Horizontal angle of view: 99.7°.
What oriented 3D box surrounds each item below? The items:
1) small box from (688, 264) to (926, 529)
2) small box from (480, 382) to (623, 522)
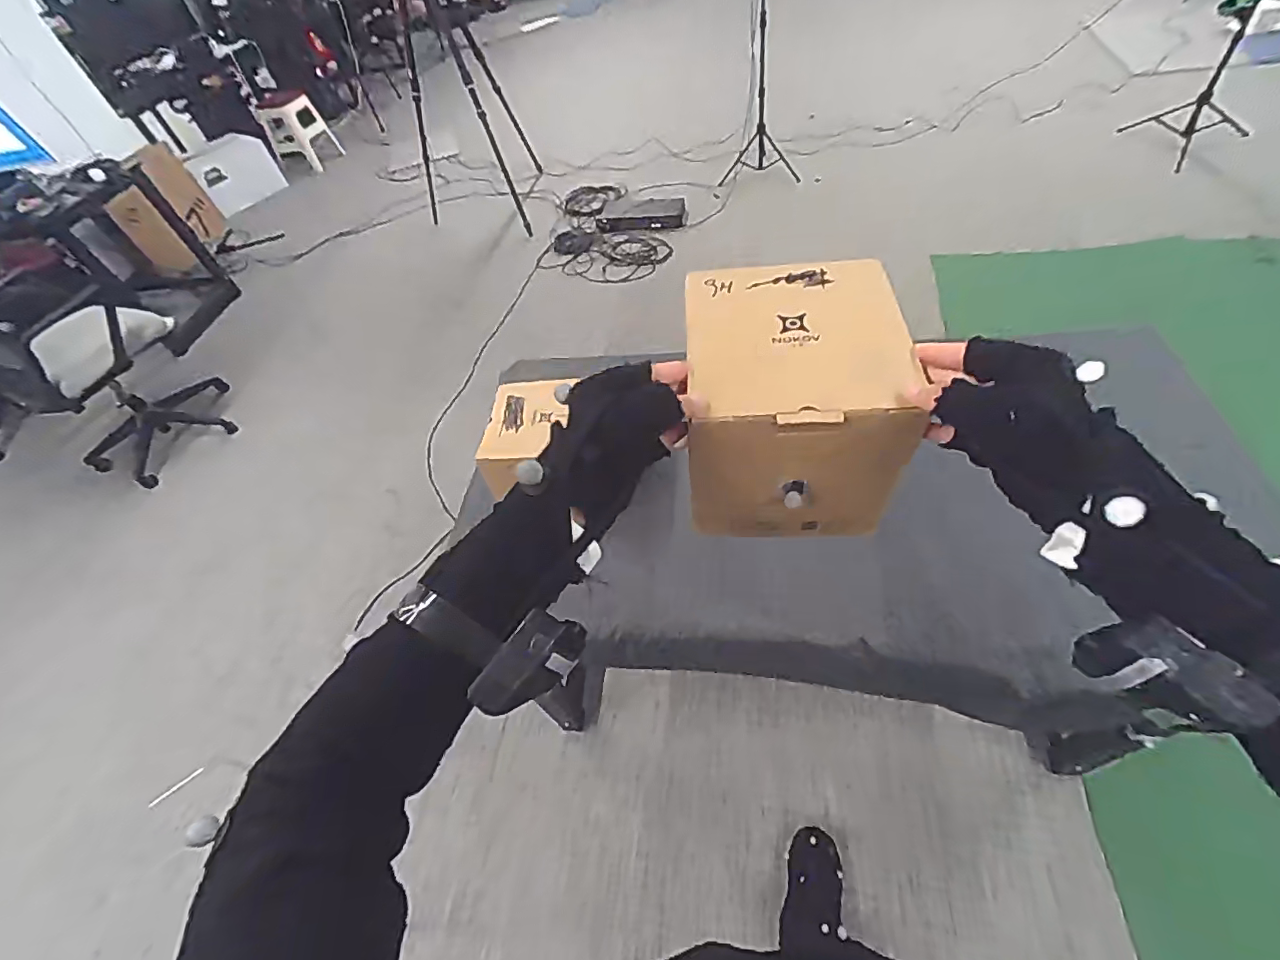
[{"bbox_3d":[0.129,-0.065,0.489,0.168,0.176,0.179,-2,55,6],"label":"small box"},{"bbox_3d":[-0.135,-0.041,0.896,0.179,0.176,0.168,-2,52,9],"label":"small box"}]
